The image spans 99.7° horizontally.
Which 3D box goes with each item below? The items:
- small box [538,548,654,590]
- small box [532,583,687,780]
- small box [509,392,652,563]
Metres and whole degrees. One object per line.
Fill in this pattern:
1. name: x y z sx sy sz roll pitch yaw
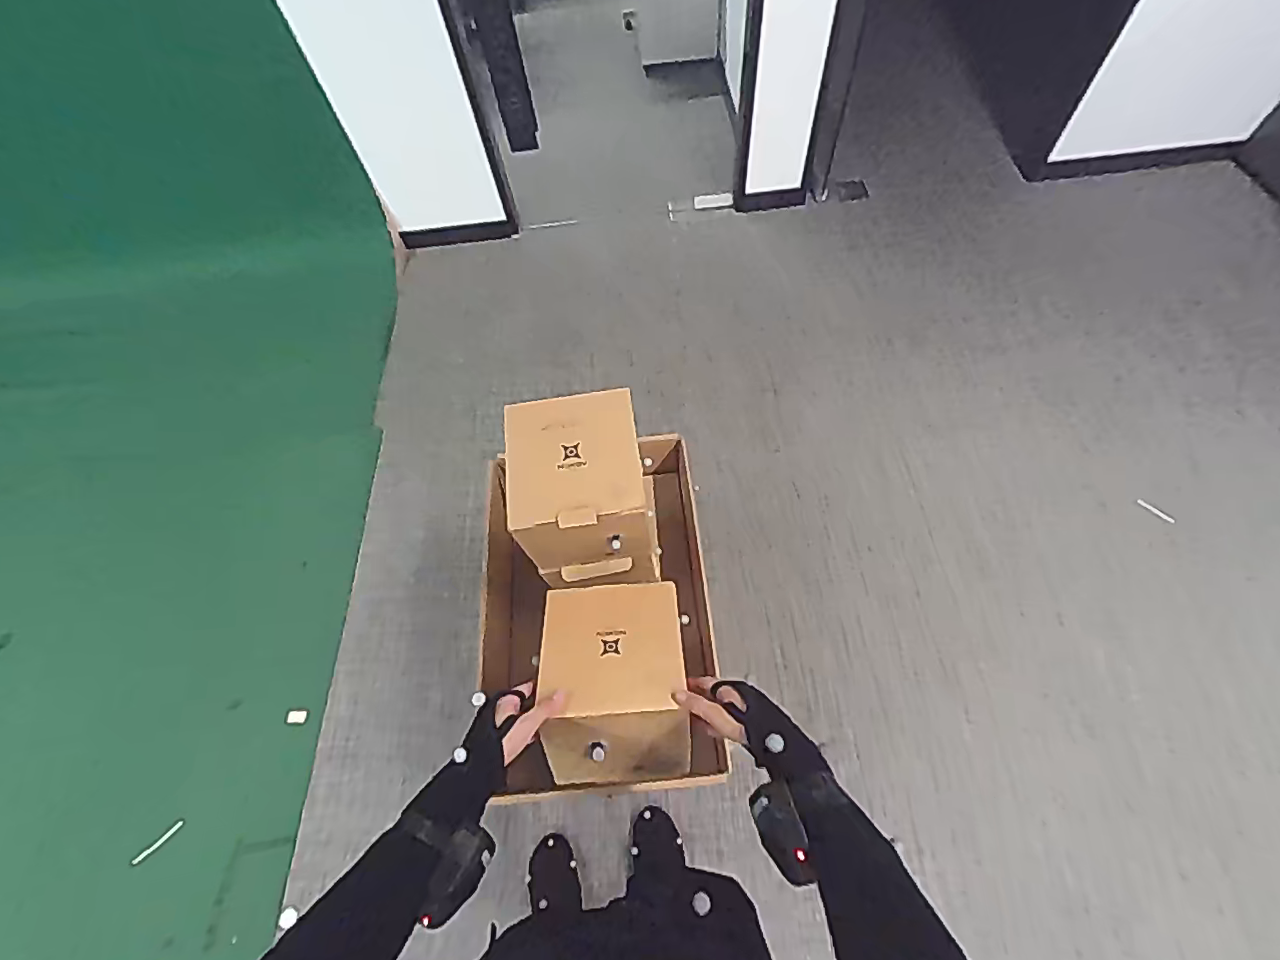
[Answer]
1. small box: -0.072 0.079 0.882 0.168 0.176 0.179 -10 63 -1
2. small box: -0.031 0.253 0.675 0.168 0.176 0.179 -3 37 0
3. small box: -0.075 0.007 0.735 0.168 0.176 0.179 -7 64 0
